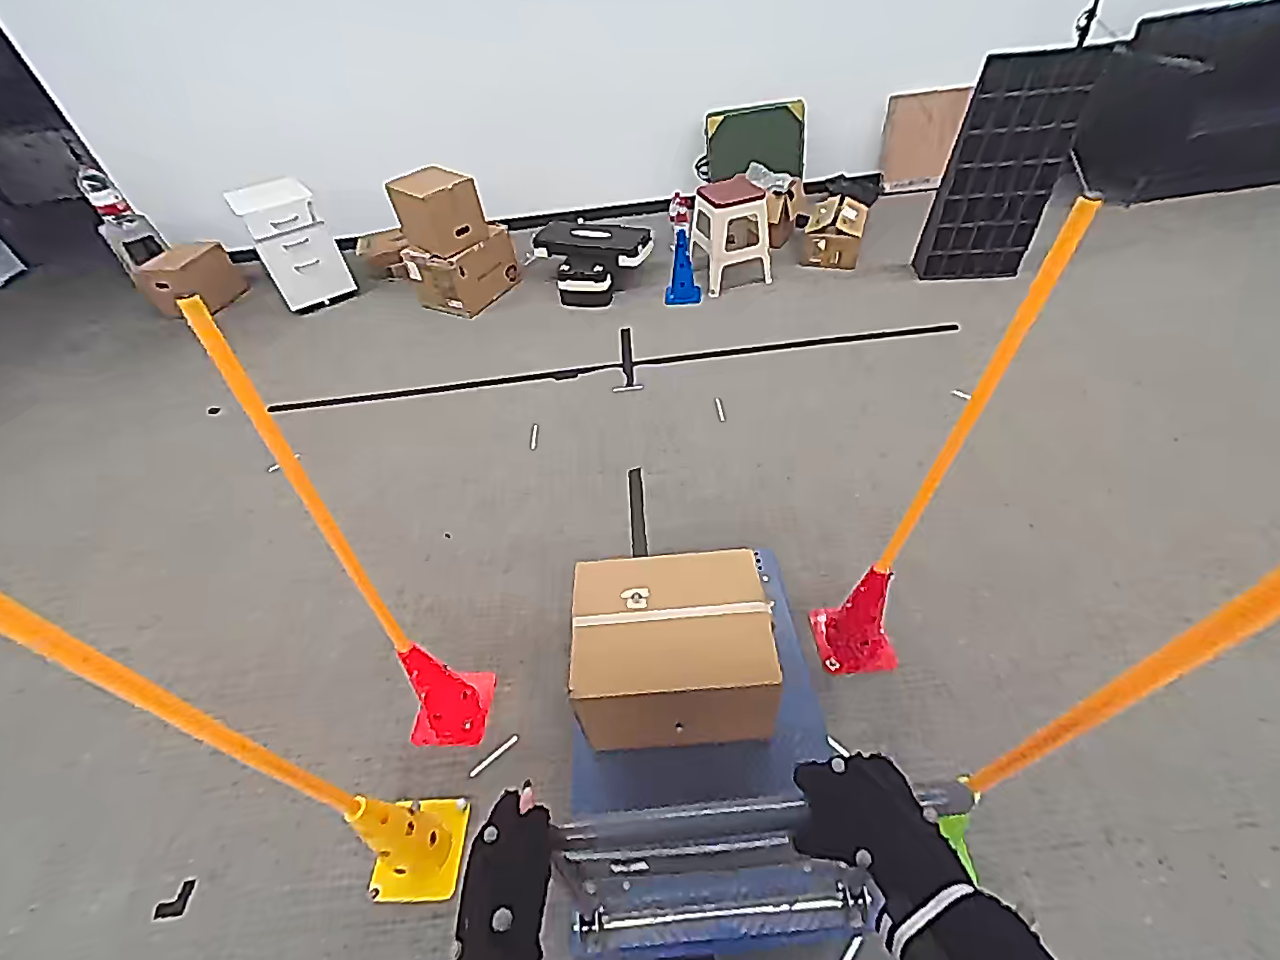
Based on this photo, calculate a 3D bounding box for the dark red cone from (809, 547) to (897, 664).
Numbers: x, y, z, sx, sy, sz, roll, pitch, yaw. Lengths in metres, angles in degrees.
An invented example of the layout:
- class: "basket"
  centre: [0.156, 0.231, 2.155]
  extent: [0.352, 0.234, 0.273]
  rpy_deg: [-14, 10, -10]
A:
- class: "dark red cone"
  centre: [0.589, 0.311, 1.414]
  extent: [0.201, 0.394, 0.202]
  rpy_deg: [-5, 46, 0]

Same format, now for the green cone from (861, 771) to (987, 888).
- class: "green cone"
  centre: [0.604, 0.669, 1.086]
  extent: [0.202, 0.368, 0.200]
  rpy_deg: [-3, 45, 3]

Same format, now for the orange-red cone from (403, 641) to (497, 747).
- class: "orange-red cone"
  centre: [-0.526, 0.516, 1.388]
  extent: [0.198, 0.360, 0.199]
  rpy_deg: [0, 44, 6]

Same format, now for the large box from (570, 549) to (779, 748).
- class: "large box"
  centre: [0.073, 0.388, 1.228]
  extent: [0.408, 0.320, 0.320]
  rpy_deg: [-6, 46, 3]
